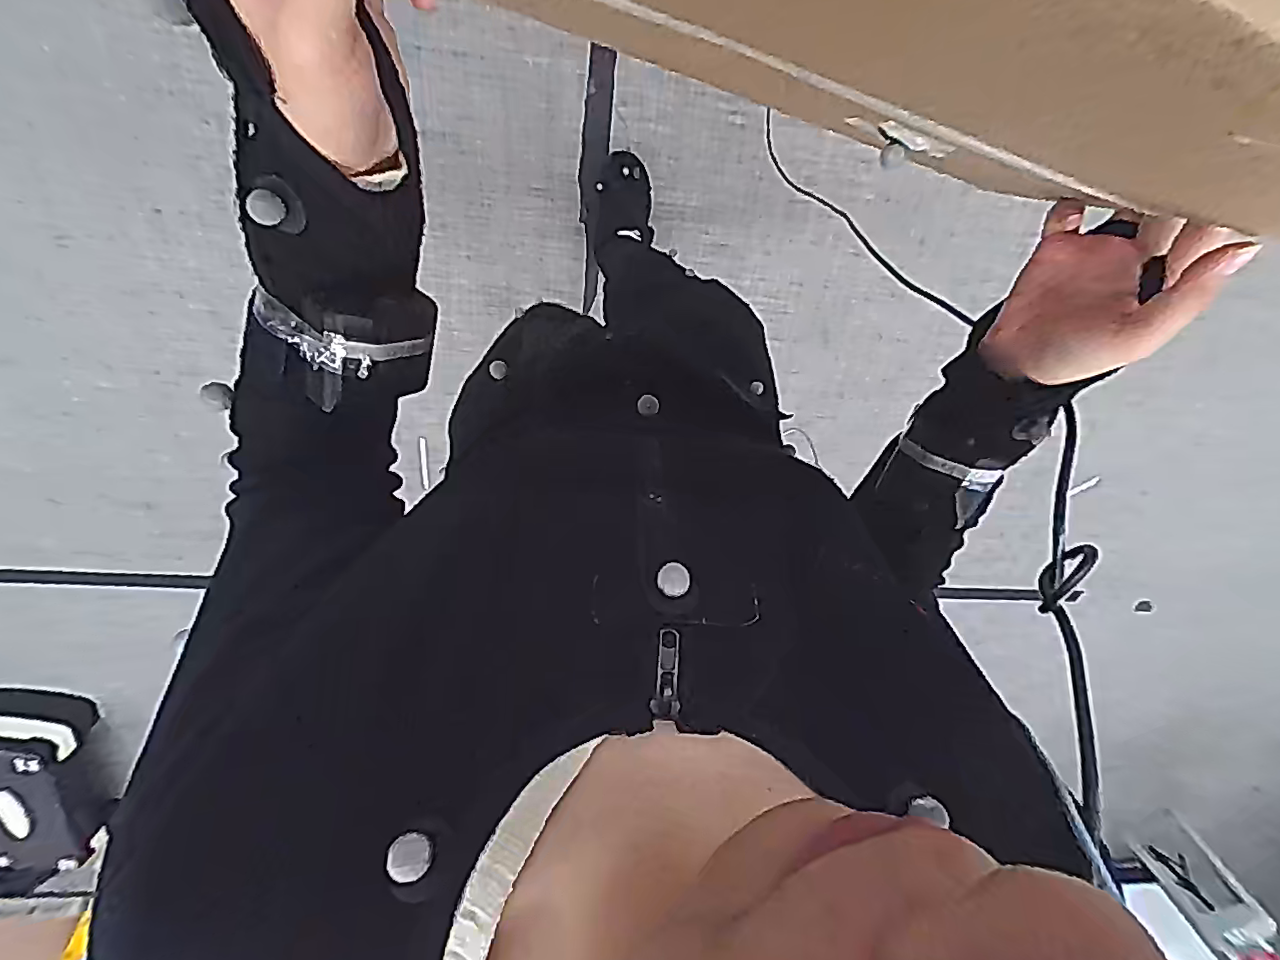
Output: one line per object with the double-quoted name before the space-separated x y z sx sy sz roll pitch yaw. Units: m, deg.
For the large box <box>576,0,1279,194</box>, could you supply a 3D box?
"large box" 0.119 -0.299 0.130 0.408 0.320 0.320 9 122 -14
